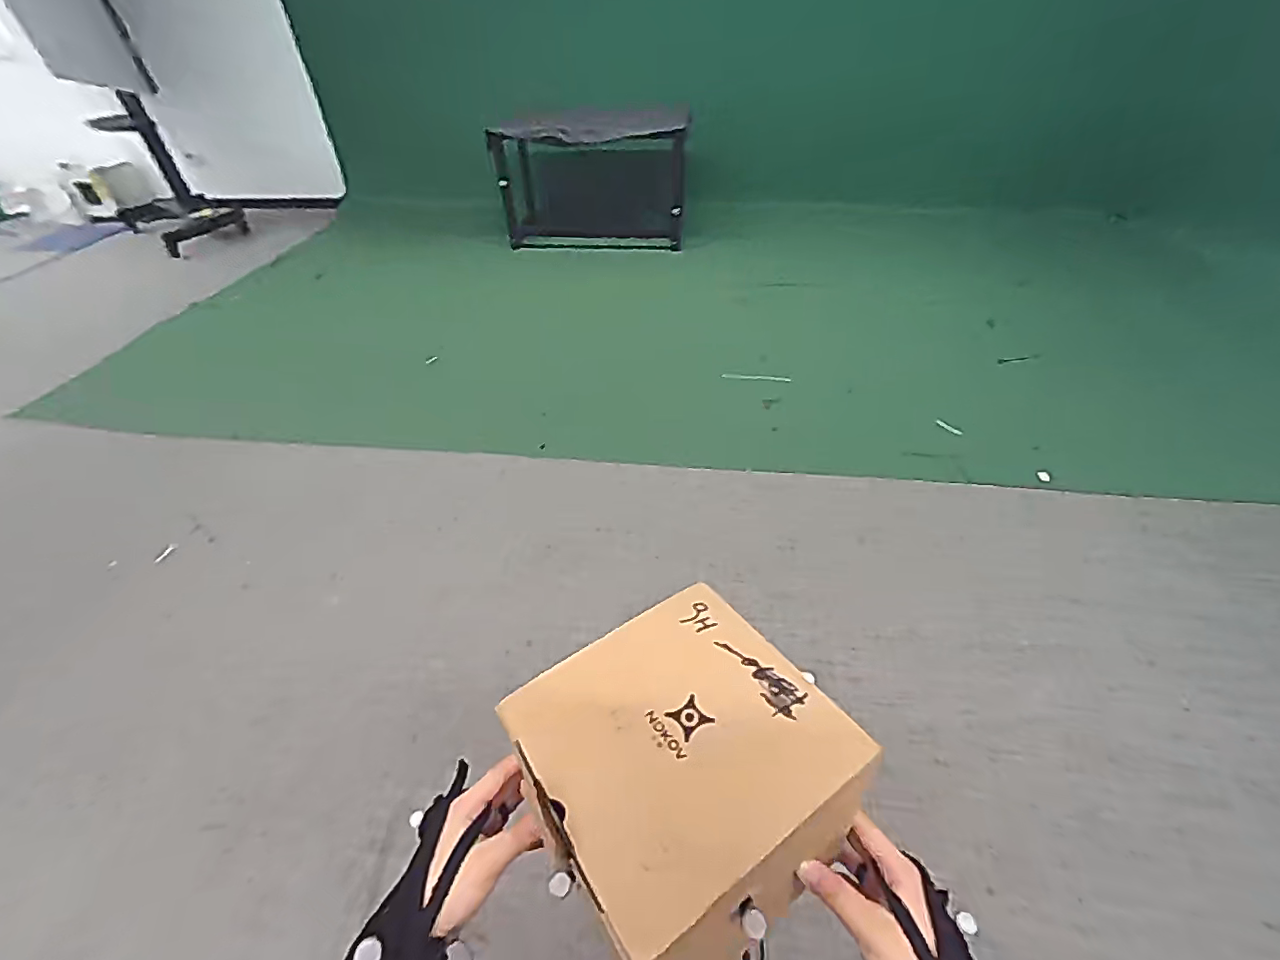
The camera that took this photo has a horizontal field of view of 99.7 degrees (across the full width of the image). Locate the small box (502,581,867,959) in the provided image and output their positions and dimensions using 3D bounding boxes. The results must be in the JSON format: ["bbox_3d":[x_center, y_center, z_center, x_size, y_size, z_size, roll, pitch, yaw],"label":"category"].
[{"bbox_3d":[0.029,0.215,0.388,0.179,0.176,0.168,-26,42,-24],"label":"small box"}]
